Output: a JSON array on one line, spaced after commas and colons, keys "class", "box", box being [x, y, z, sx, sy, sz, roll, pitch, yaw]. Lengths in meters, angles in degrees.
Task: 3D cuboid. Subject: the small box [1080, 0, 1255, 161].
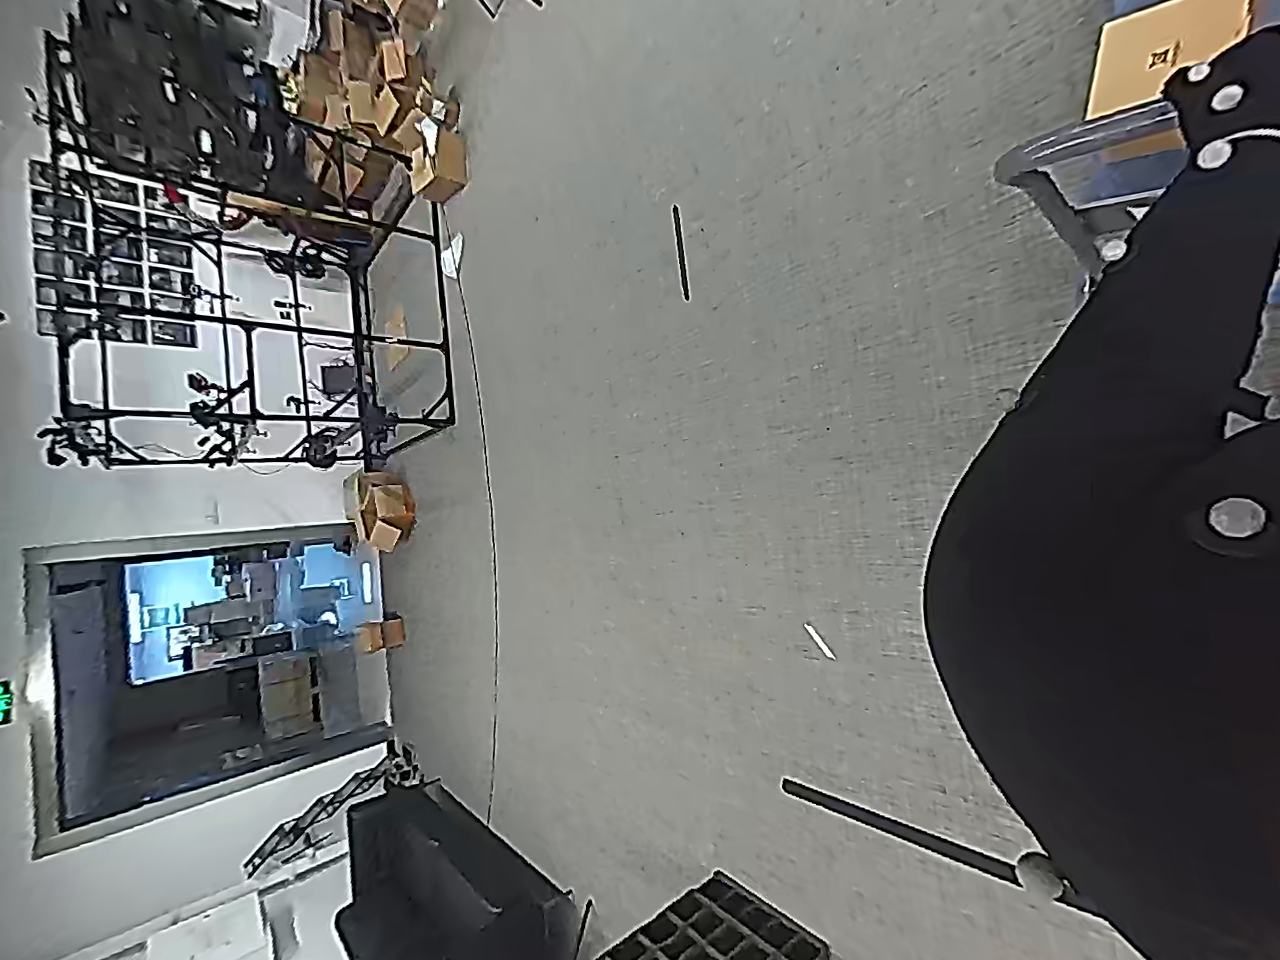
[{"class": "small box", "box": [0.872, -0.661, 0.898, 0.179, 0.176, 0.168, 14, 102, 47]}]
